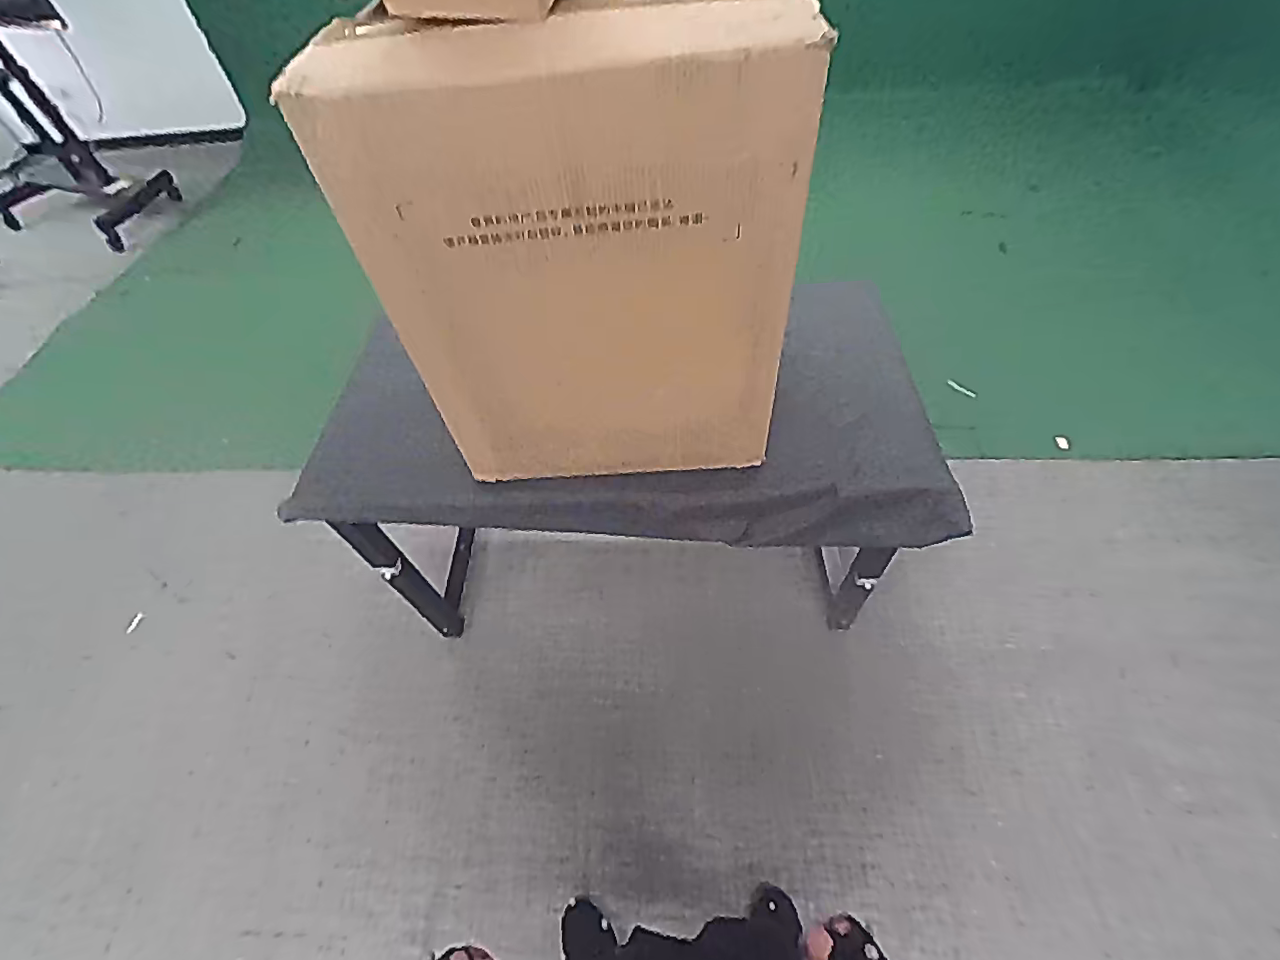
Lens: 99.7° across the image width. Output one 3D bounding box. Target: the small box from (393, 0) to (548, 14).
[{"bbox_3d":[-0.173,-0.591,0.522,0.179,0.176,0.168,10,67,9],"label":"small box"}]
